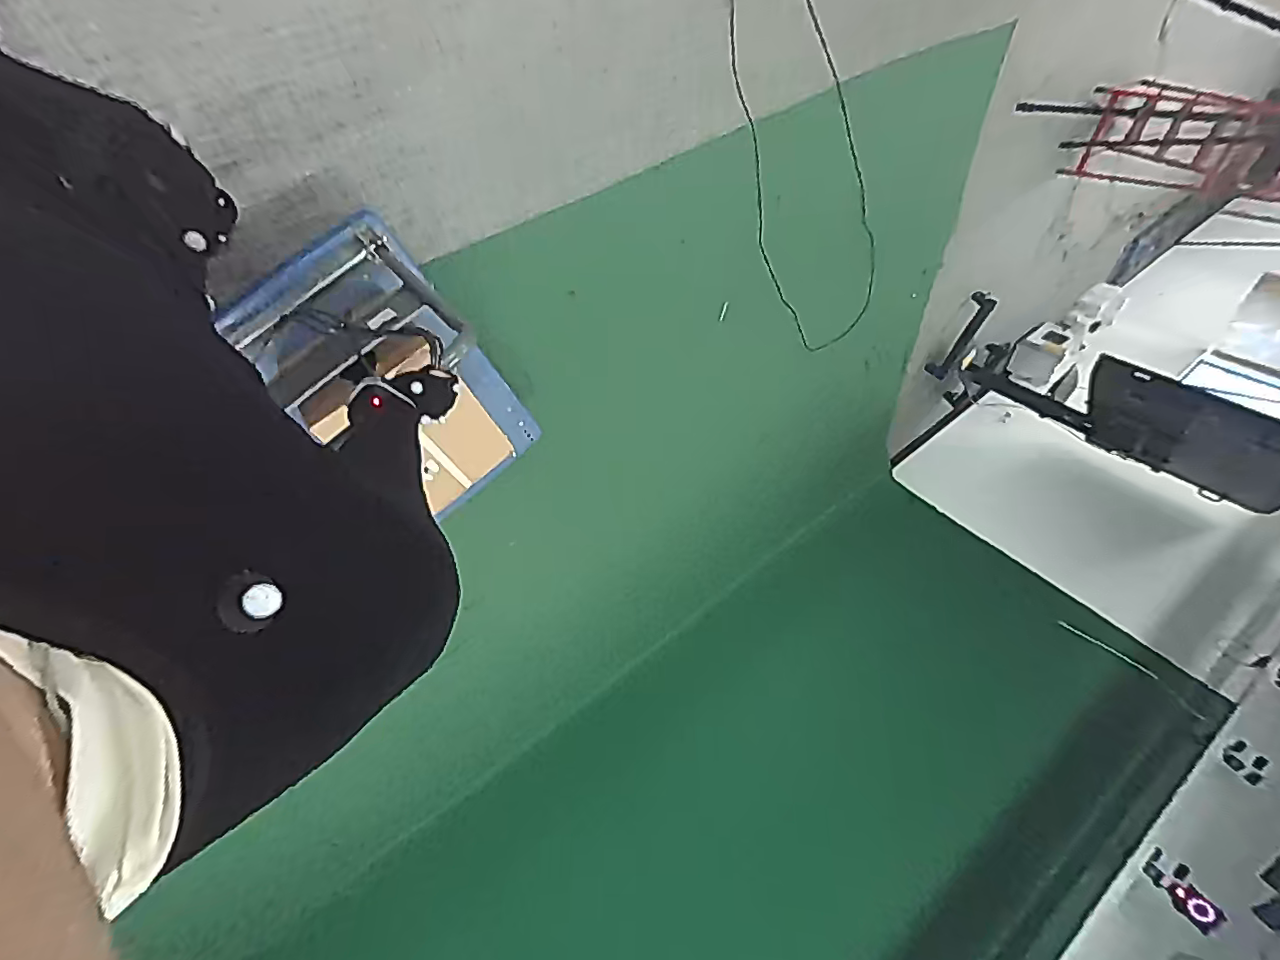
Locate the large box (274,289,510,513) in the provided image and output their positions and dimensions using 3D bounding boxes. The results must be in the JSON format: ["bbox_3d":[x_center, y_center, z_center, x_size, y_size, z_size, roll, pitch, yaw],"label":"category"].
[{"bbox_3d":[-0.611,-0.193,1.372,0.320,0.320,0.408,-40,145,-10],"label":"large box"}]
